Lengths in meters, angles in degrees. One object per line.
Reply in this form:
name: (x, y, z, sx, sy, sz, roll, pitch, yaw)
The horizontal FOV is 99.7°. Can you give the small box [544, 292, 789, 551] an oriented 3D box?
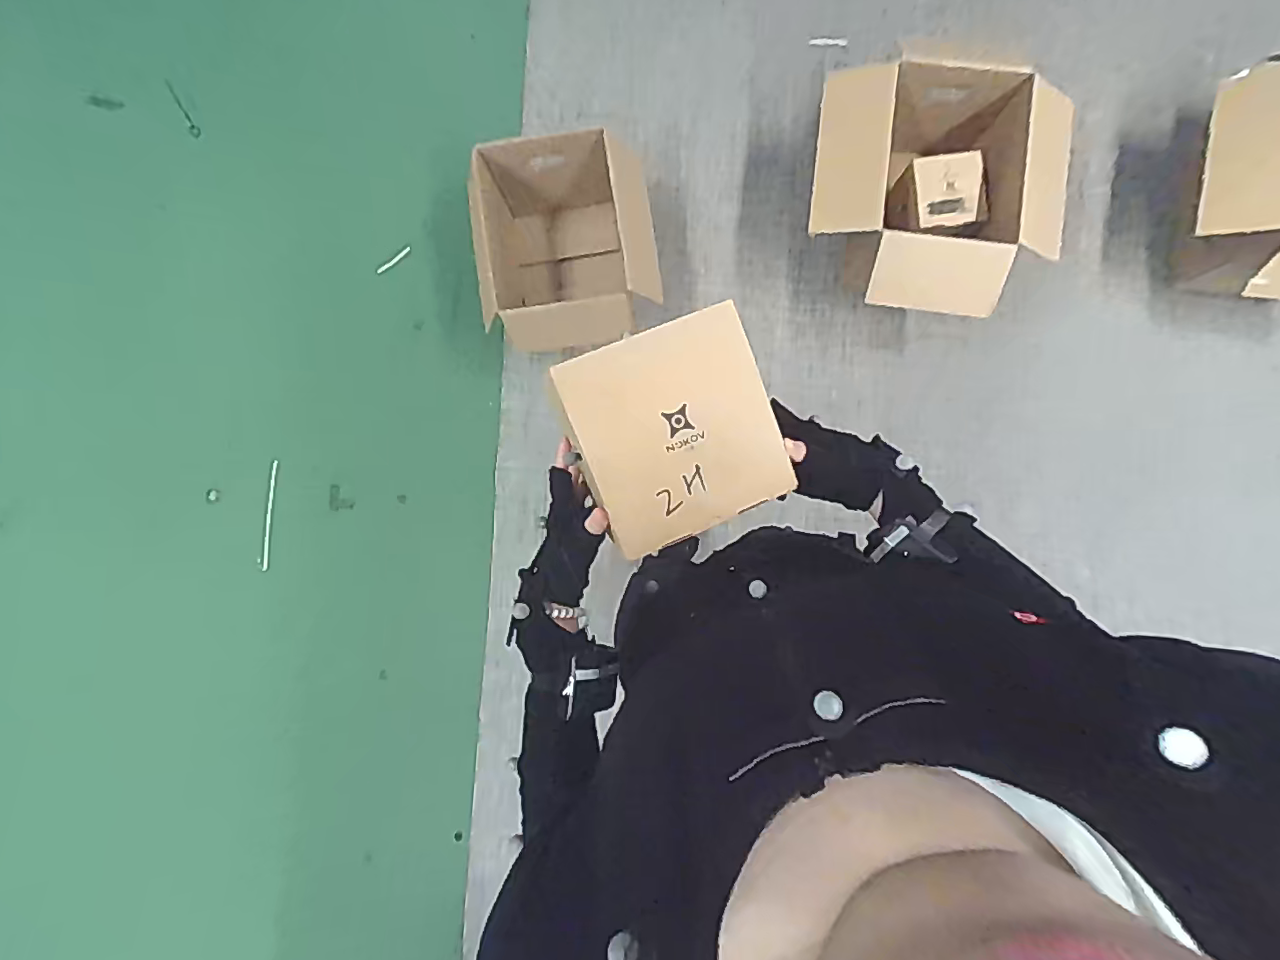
small box: (0.012, -0.055, 0.524, 0.168, 0.176, 0.179, -22, 99, -8)
